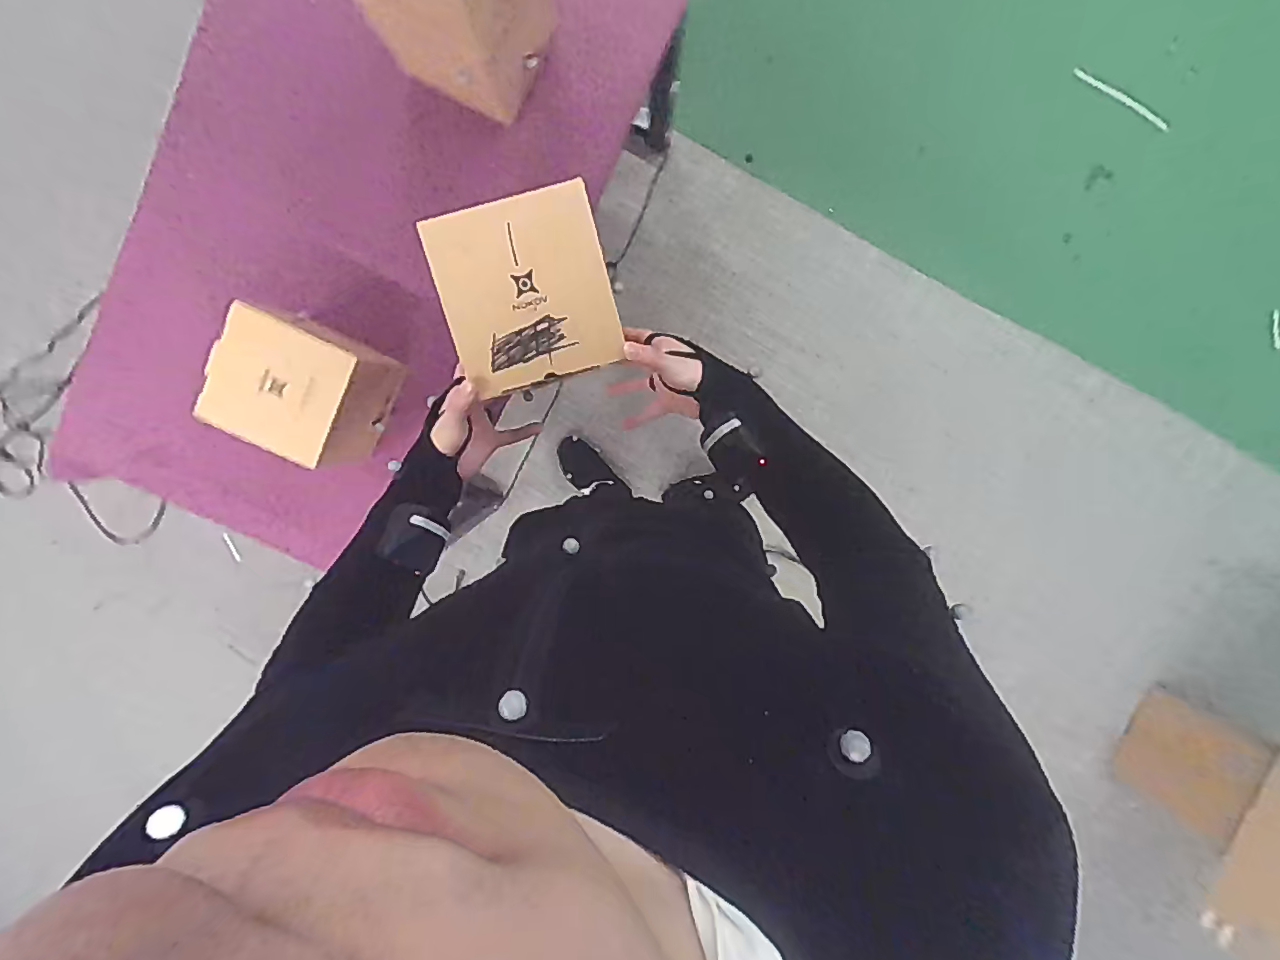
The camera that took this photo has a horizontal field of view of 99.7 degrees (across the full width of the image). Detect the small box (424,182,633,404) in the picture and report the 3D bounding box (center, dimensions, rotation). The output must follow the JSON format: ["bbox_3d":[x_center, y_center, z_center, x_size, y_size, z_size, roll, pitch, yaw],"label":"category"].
[{"bbox_3d":[-0.106,-0.191,0.593,0.168,0.176,0.179,-14,101,0],"label":"small box"}]

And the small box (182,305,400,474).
[{"bbox_3d":[-0.486,-0.124,0.780,0.179,0.176,0.168,25,97,-4],"label":"small box"}]
